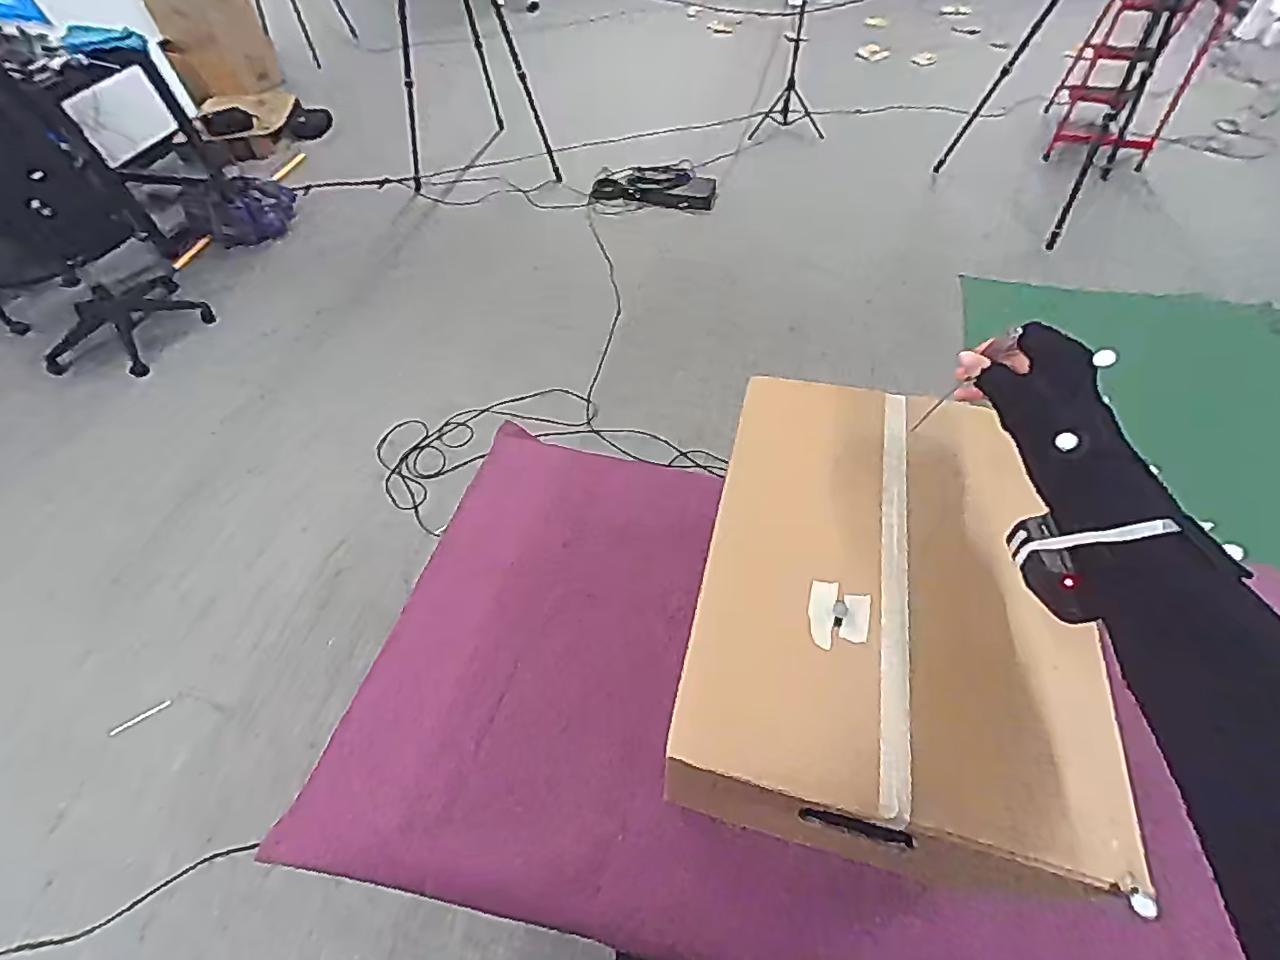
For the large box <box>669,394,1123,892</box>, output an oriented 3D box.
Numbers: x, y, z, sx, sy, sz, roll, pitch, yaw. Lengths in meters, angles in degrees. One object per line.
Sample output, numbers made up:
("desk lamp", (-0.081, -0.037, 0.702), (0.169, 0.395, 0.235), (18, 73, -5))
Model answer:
("large box", (0.225, 0.170, 0.611), (0.320, 0.320, 0.408), (11, 56, 11))
